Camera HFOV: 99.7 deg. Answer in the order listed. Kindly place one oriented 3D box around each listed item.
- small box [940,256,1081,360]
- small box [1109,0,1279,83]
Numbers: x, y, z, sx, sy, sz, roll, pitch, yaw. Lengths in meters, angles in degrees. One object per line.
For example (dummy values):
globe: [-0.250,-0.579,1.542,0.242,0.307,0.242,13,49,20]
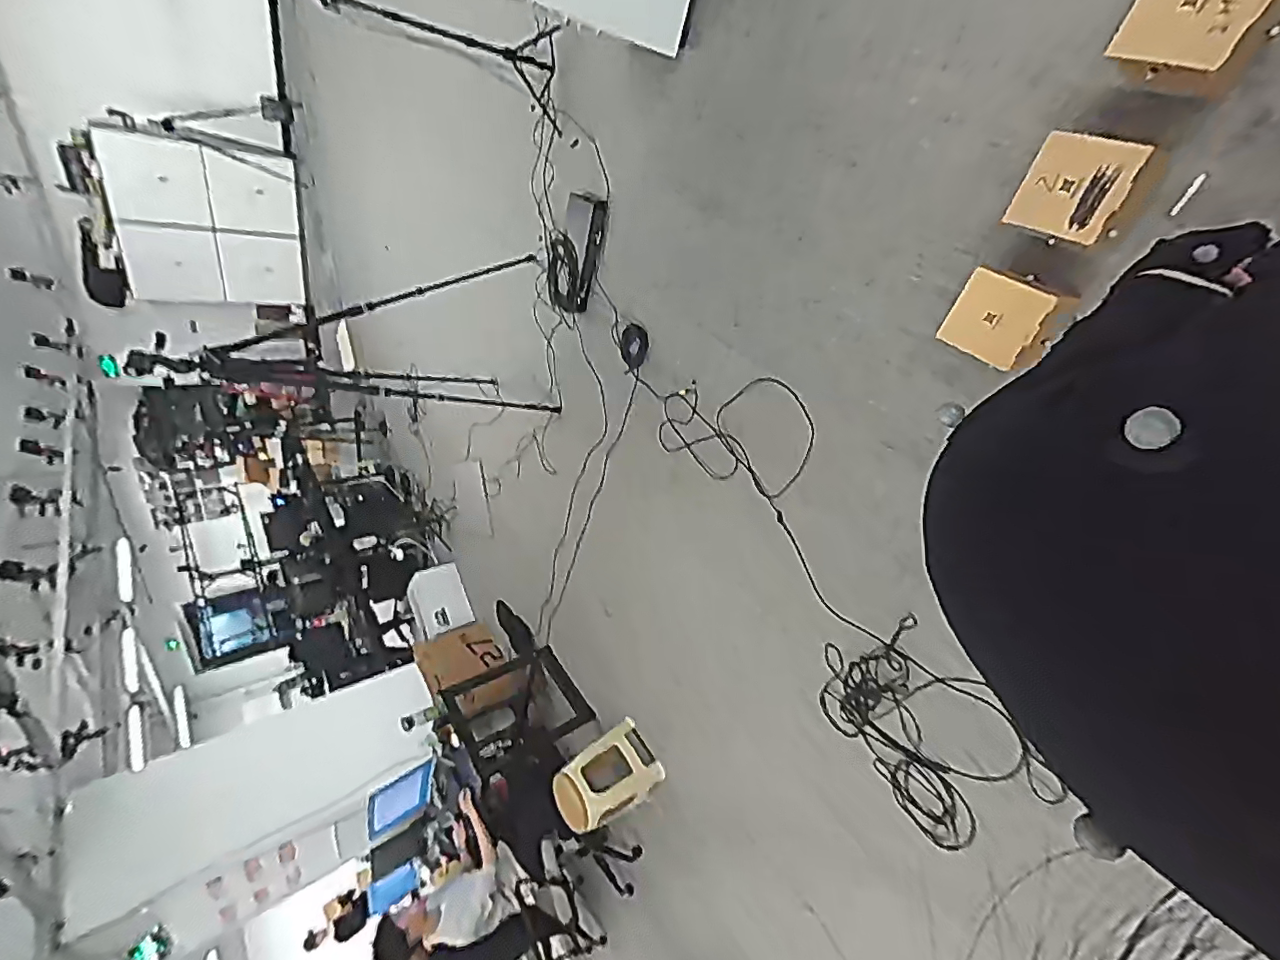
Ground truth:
small box: [0.830,-0.385,1.214,0.179,0.176,0.168,45,133,34]
small box: [0.964,-0.803,0.918,0.179,0.176,0.168,45,133,33]
